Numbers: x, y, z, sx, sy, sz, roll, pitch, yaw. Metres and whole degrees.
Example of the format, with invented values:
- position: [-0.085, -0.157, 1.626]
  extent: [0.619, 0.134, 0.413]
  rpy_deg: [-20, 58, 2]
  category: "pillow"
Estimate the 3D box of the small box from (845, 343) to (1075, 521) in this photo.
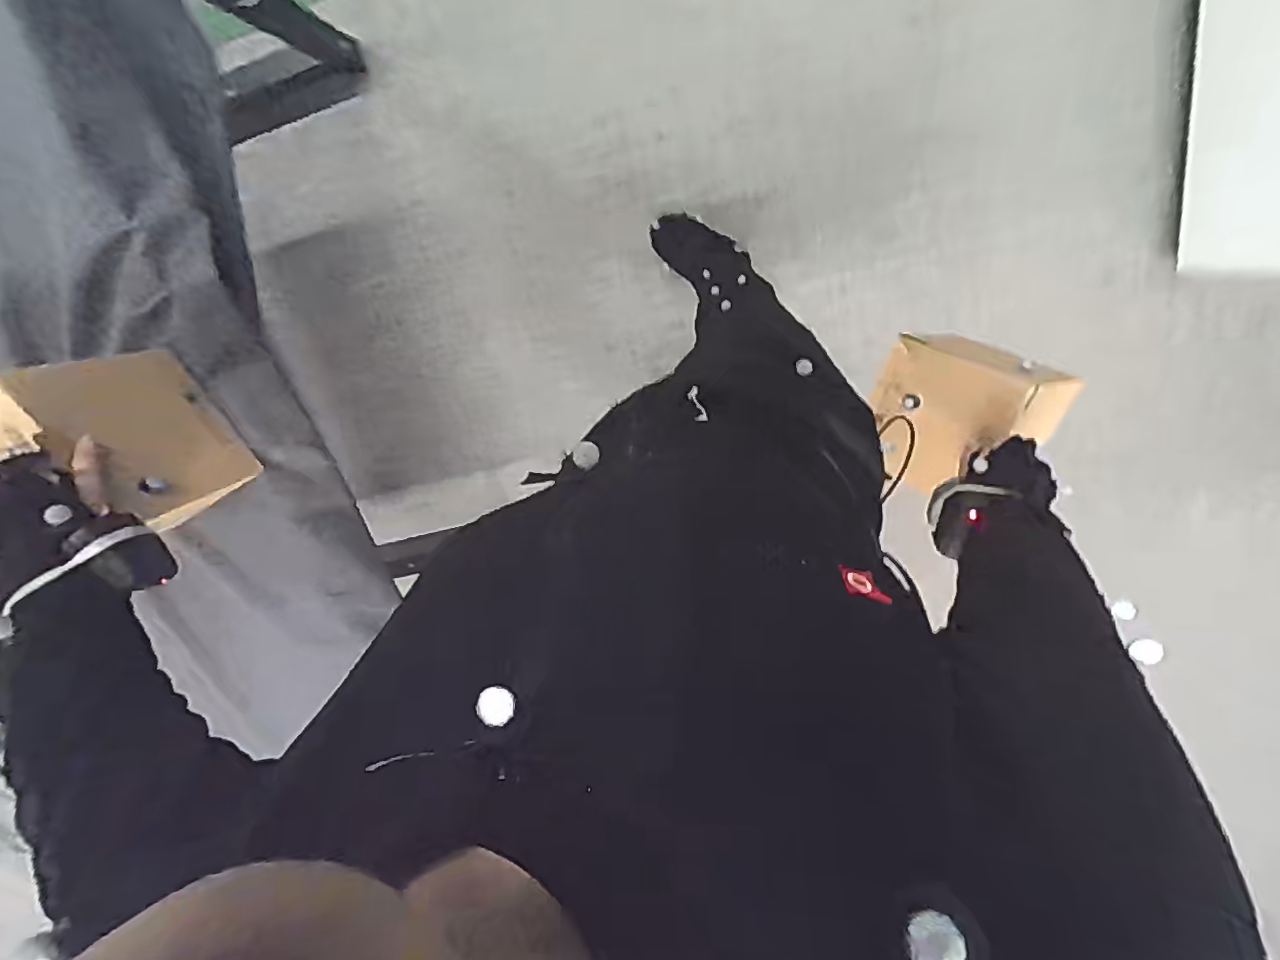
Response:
- position: [0.408, -0.073, 0.707]
  extent: [0.179, 0.176, 0.168]
  rpy_deg: [-11, 127, -38]
  category: "small box"
